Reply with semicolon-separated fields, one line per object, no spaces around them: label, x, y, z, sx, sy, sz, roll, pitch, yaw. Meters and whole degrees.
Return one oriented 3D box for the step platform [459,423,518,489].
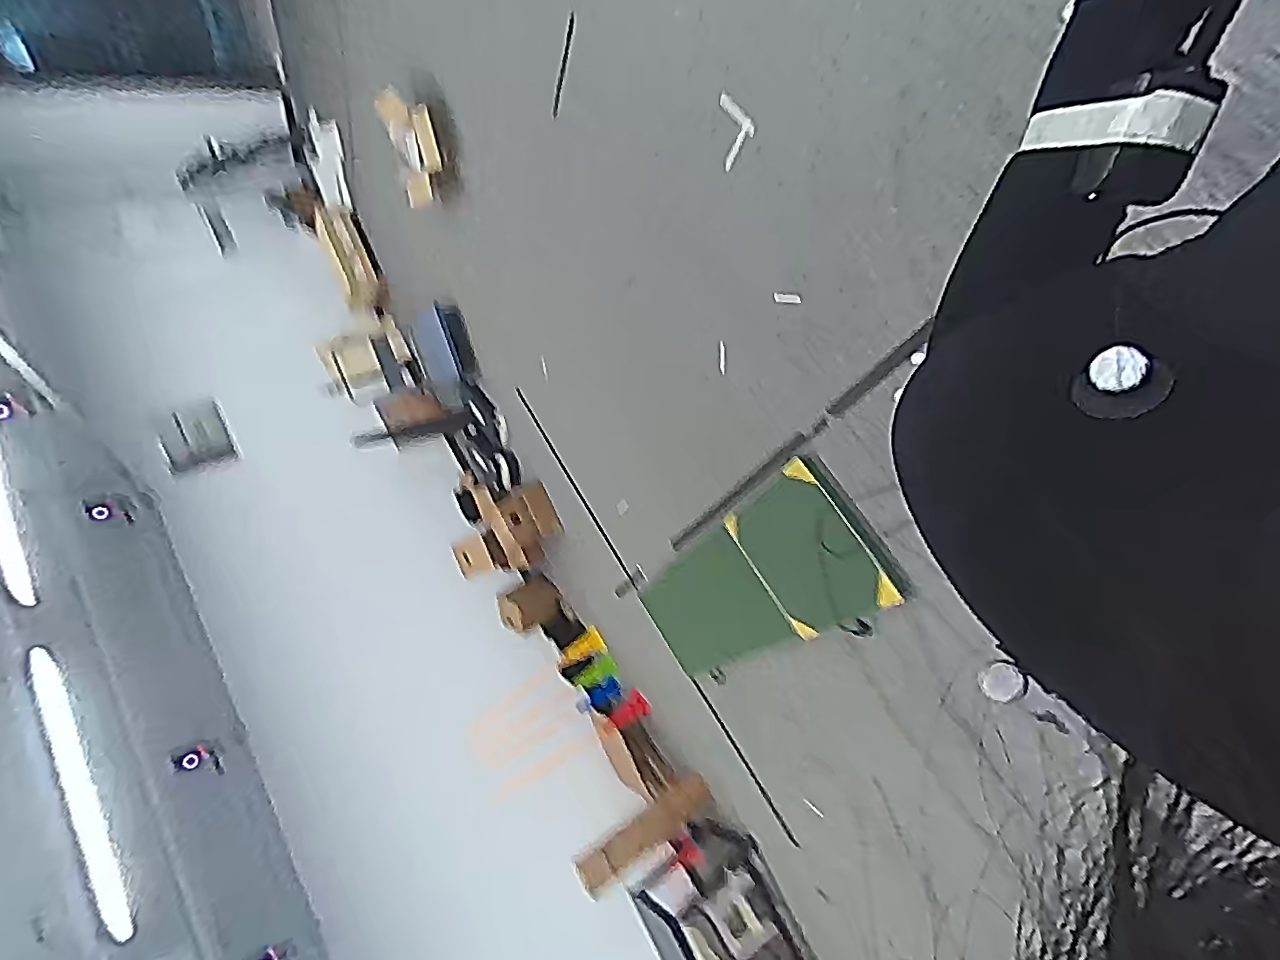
step platform;-1.293;-0.207;4.573;0.684;0.204;0.286;38;139;37
